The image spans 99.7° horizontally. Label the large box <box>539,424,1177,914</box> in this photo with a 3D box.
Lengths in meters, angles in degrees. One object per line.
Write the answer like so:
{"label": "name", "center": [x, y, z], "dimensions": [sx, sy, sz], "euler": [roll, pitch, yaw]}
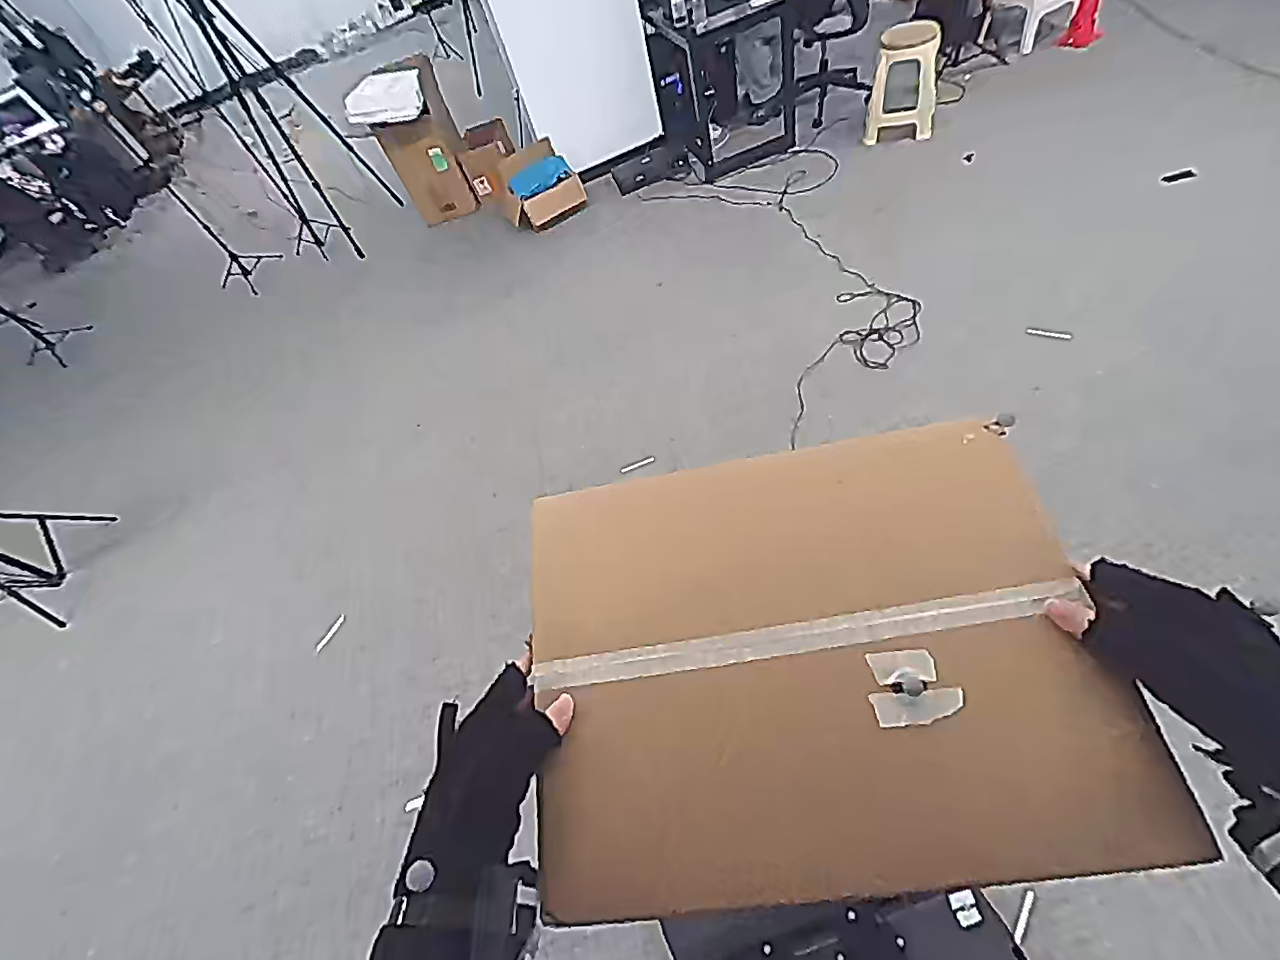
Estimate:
{"label": "large box", "center": [0.142, 0.190, 0.546], "dimensions": [0.408, 0.320, 0.320], "euler": [-11, 62, 6]}

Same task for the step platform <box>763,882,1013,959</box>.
{"label": "step platform", "center": [0.409, 1.070, 1.057], "dimensions": [0.684, 0.204, 0.286], "euler": [-24, 50, 2]}
